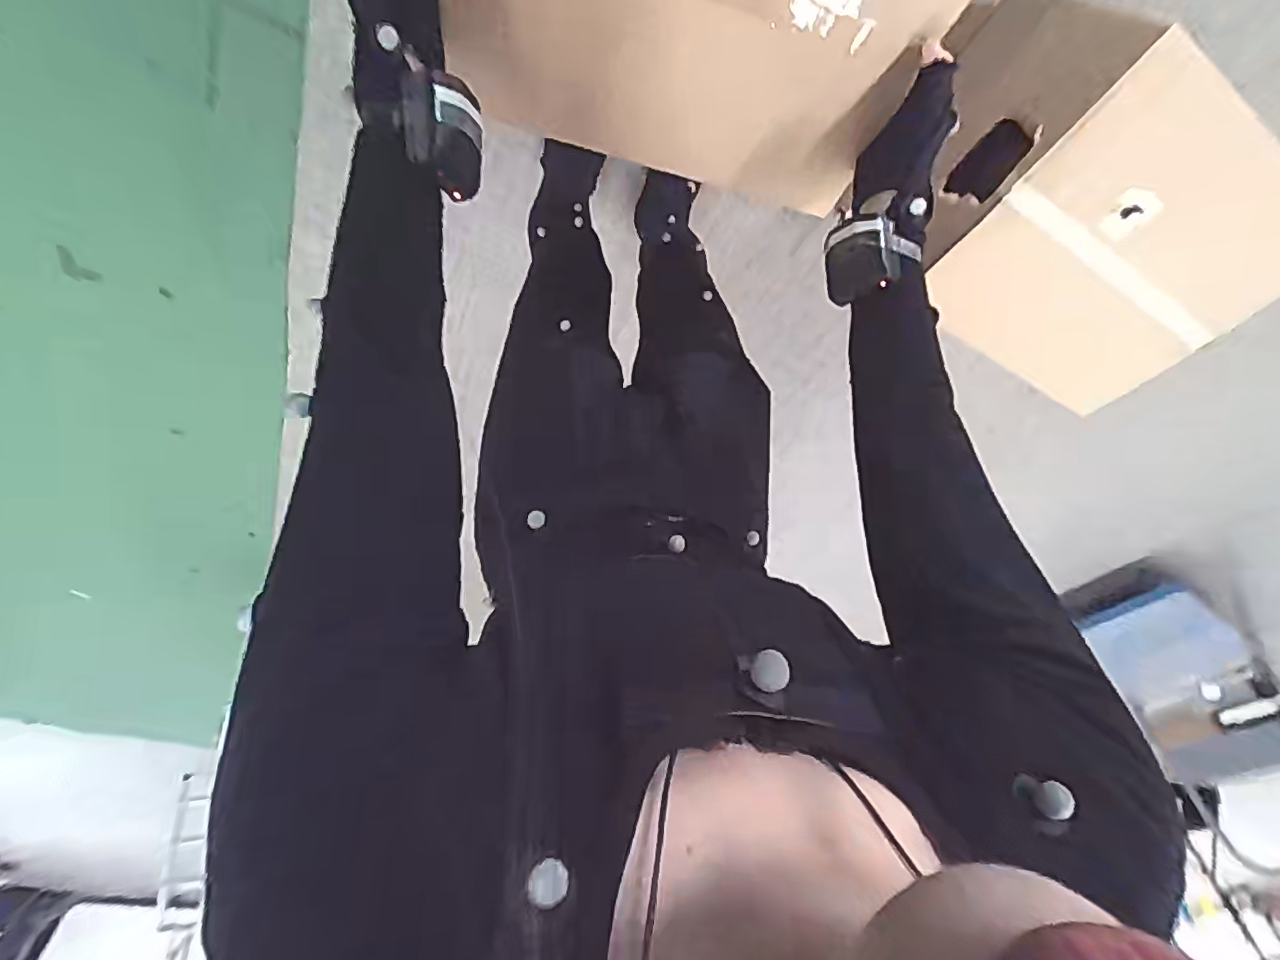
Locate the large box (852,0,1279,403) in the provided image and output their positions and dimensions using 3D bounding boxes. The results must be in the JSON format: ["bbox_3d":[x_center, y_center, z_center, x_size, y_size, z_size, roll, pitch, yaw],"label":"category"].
[{"bbox_3d":[0.574,-0.377,0.740,0.408,0.320,0.320,22,135,-19],"label":"large box"}]
